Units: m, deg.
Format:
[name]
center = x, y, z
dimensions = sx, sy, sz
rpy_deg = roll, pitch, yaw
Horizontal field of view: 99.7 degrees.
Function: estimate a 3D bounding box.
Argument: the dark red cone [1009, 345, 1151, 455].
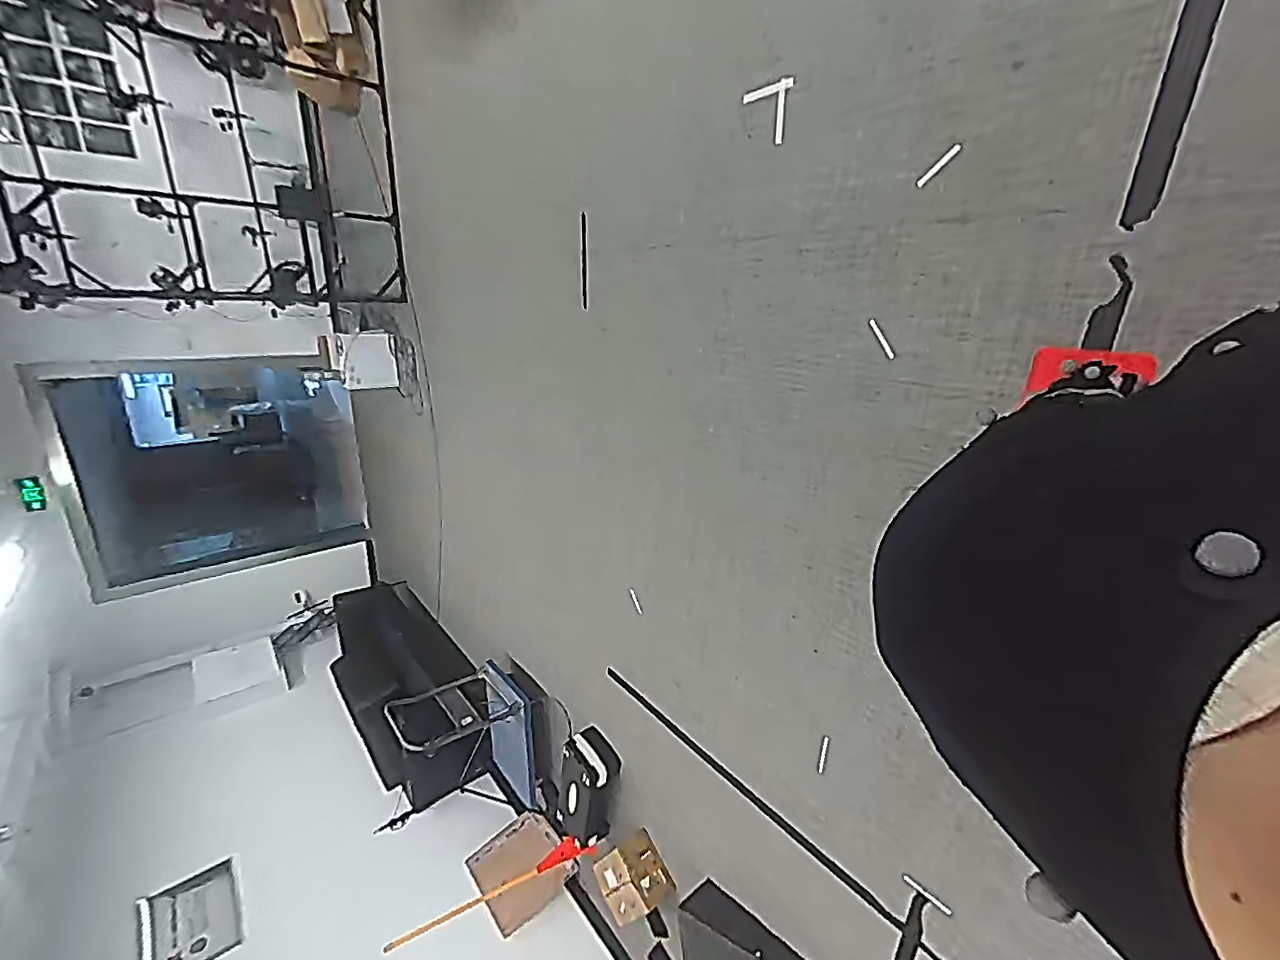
[dark red cone]
center = 0.756, -0.136, 0.987
dimensions = 0.201, 0.394, 0.202
rpy_deg = 22, 117, 46
